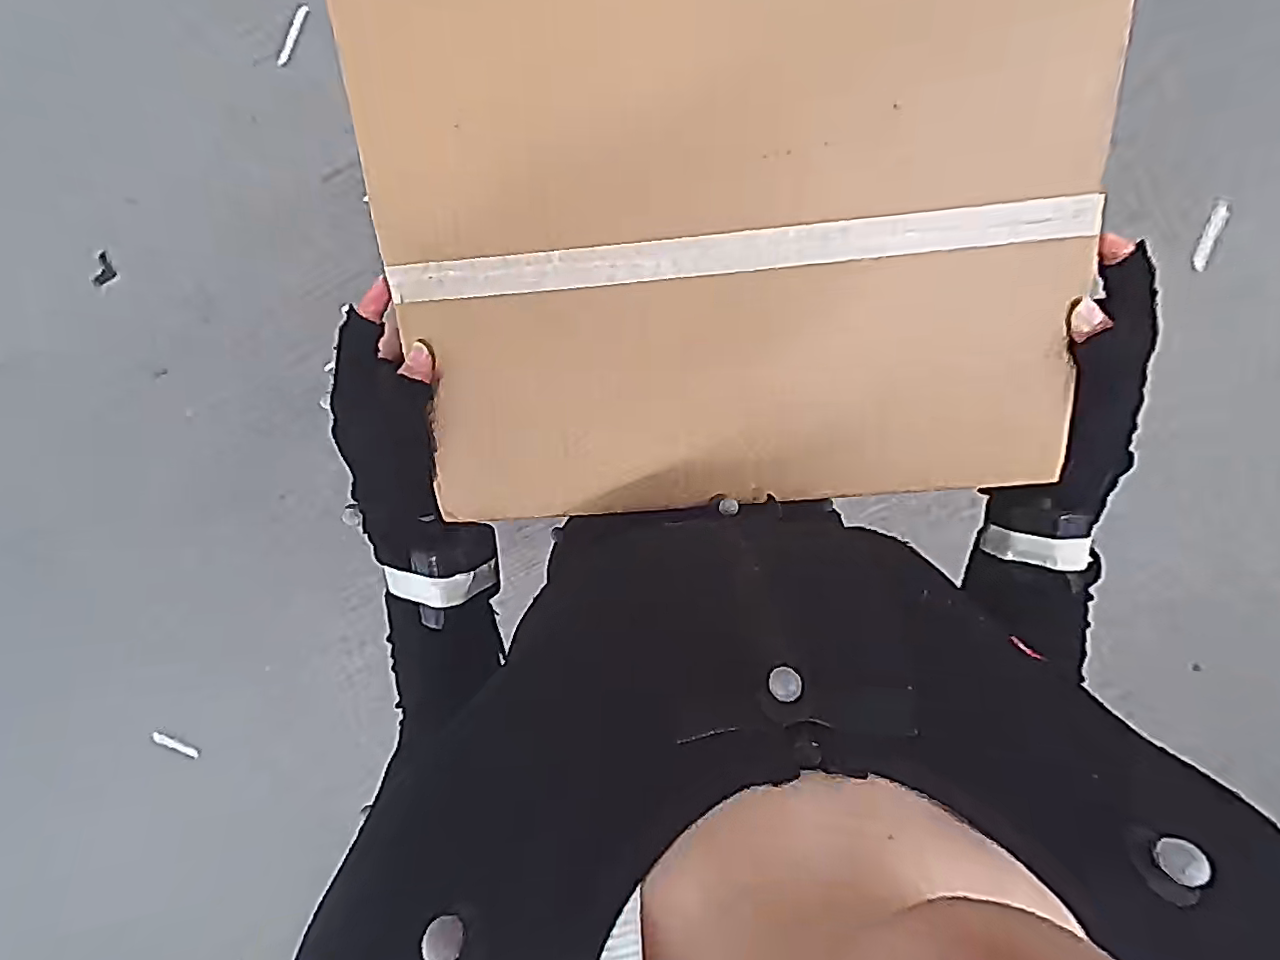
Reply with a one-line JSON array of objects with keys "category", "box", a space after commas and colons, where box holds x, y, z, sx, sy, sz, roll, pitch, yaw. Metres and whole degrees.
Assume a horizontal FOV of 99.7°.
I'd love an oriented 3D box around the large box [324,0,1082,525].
[{"category": "large box", "box": [0.048, -0.180, 0.464, 0.408, 0.320, 0.320, -5, 108, 3]}]
